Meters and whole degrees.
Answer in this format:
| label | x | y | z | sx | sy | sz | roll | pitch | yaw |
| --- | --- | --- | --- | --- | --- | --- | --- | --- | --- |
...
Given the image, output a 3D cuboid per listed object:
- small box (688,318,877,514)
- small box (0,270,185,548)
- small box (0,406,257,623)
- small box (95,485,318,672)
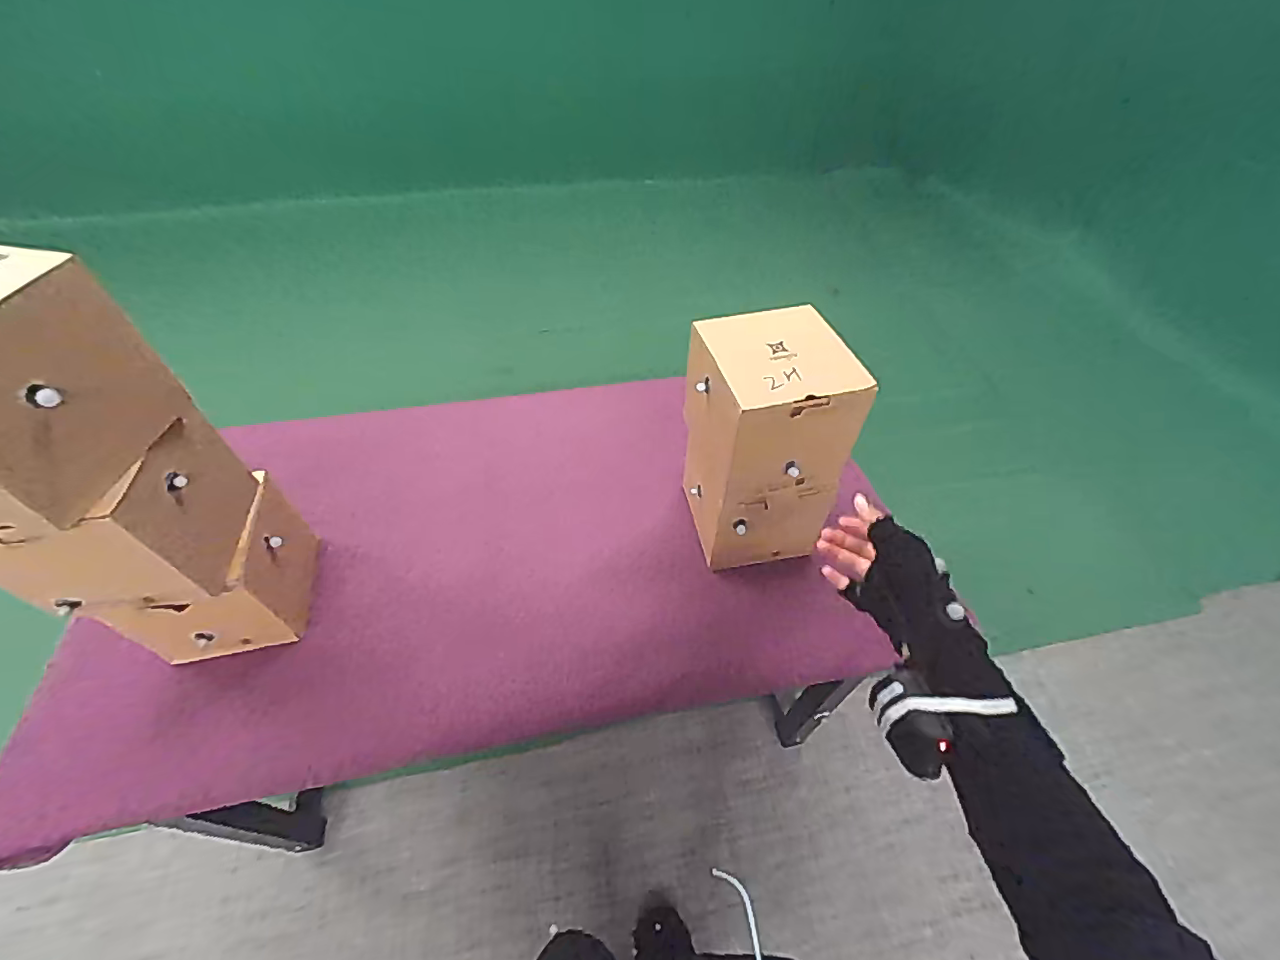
| label | x | y | z | sx | sy | sz | roll | pitch | yaw |
| --- | --- | --- | --- | --- | --- | --- | --- | --- | --- |
| small box | 0.166 | -0.083 | 0.705 | 0.168 | 0.176 | 0.179 | -11 | 51 | -9 |
| small box | -0.561 | -0.061 | 0.468 | 0.168 | 0.176 | 0.179 | 8 | 53 | 4 |
| small box | -0.565 | 0.044 | 0.594 | 0.168 | 0.176 | 0.179 | -6 | 51 | -7 |
| small box | -0.563 | 0.134 | 0.732 | 0.168 | 0.176 | 0.179 | -10 | 52 | -9 |
